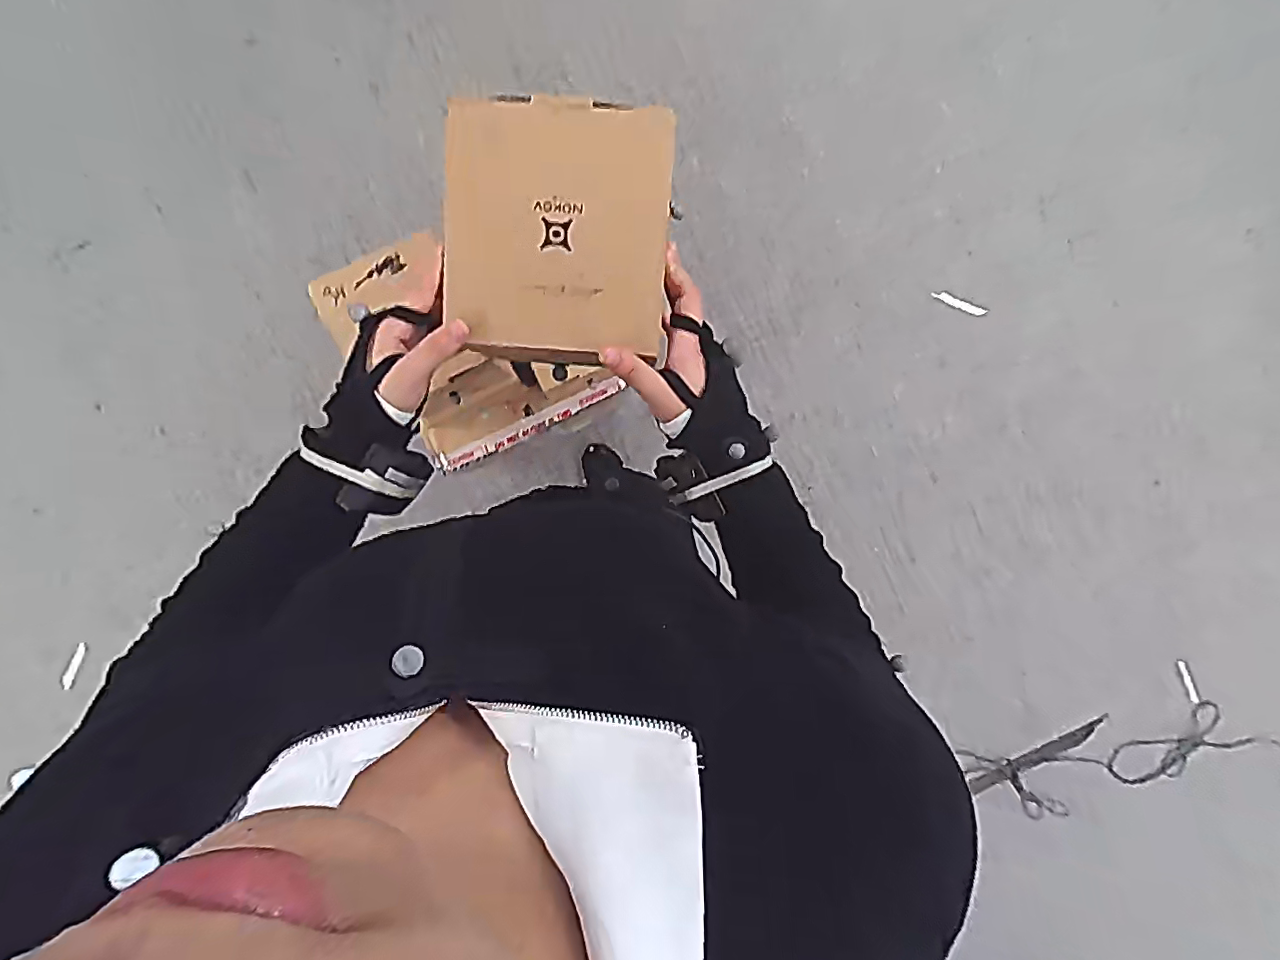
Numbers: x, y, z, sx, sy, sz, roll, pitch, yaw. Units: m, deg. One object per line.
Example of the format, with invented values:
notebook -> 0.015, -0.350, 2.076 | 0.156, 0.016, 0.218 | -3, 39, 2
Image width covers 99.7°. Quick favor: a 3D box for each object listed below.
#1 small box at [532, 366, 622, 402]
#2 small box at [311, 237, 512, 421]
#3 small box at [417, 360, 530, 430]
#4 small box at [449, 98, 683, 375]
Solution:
small box -> -0.117, -0.248, 0.917 | 0.168, 0.176, 0.179 | -25, 95, -3
small box -> -0.294, -0.194, 0.742 | 0.168, 0.176, 0.179 | -25, 97, -1
small box -> -0.303, -0.193, 0.906 | 0.168, 0.176, 0.179 | -27, 97, -1
small box -> -0.057, -0.192, 0.478 | 0.168, 0.176, 0.179 | 4, 98, 0
